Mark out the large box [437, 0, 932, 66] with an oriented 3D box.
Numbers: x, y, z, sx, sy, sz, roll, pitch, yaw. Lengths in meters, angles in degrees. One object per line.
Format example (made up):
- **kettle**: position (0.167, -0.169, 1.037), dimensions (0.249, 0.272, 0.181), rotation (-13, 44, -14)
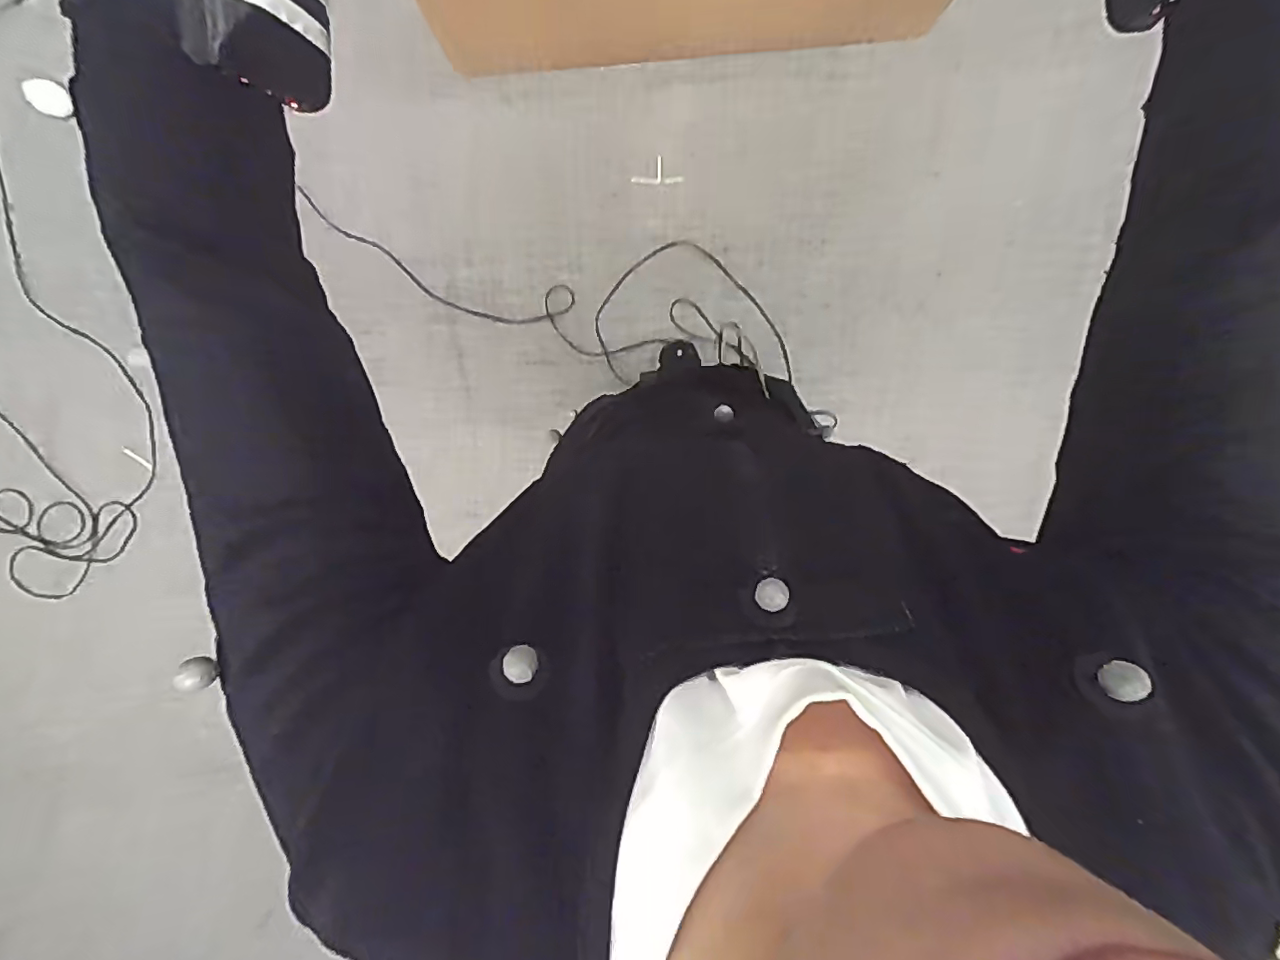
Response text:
- **large box**: position (0.032, -0.505, 0.300), dimensions (0.408, 0.320, 0.320), rotation (-5, 97, 0)
